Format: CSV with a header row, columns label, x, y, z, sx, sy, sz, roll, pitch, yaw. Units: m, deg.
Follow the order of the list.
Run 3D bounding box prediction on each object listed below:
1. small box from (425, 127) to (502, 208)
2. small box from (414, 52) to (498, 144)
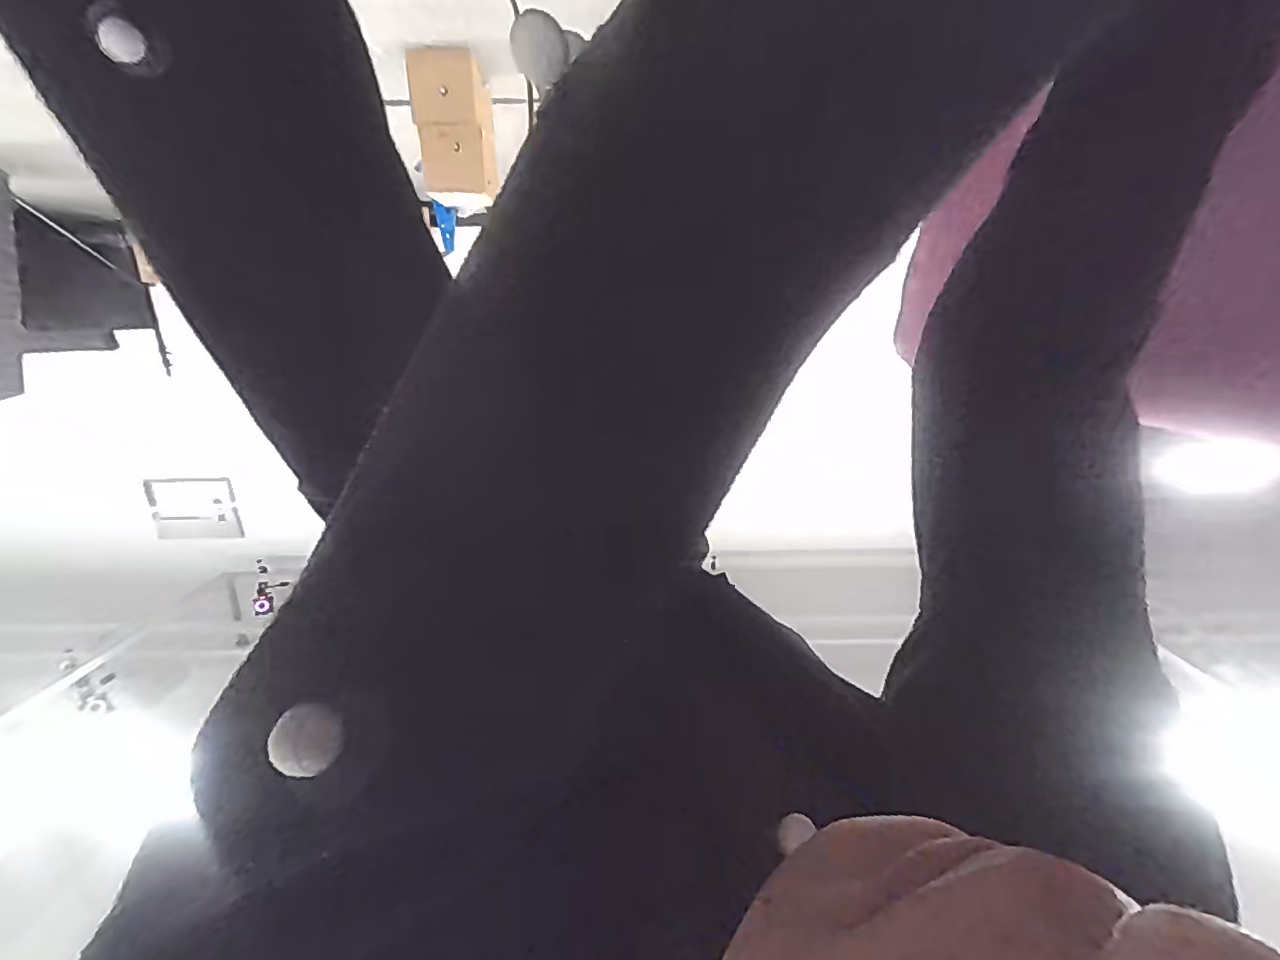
label,x,y,z,sx,sy,sz,roll,pitch,yaw
small box,-0.496,-0.885,1.537,0.168,0.176,0.179,-1,-164,-2
small box,-0.500,-1.037,1.479,0.179,0.176,0.168,0,-163,3
